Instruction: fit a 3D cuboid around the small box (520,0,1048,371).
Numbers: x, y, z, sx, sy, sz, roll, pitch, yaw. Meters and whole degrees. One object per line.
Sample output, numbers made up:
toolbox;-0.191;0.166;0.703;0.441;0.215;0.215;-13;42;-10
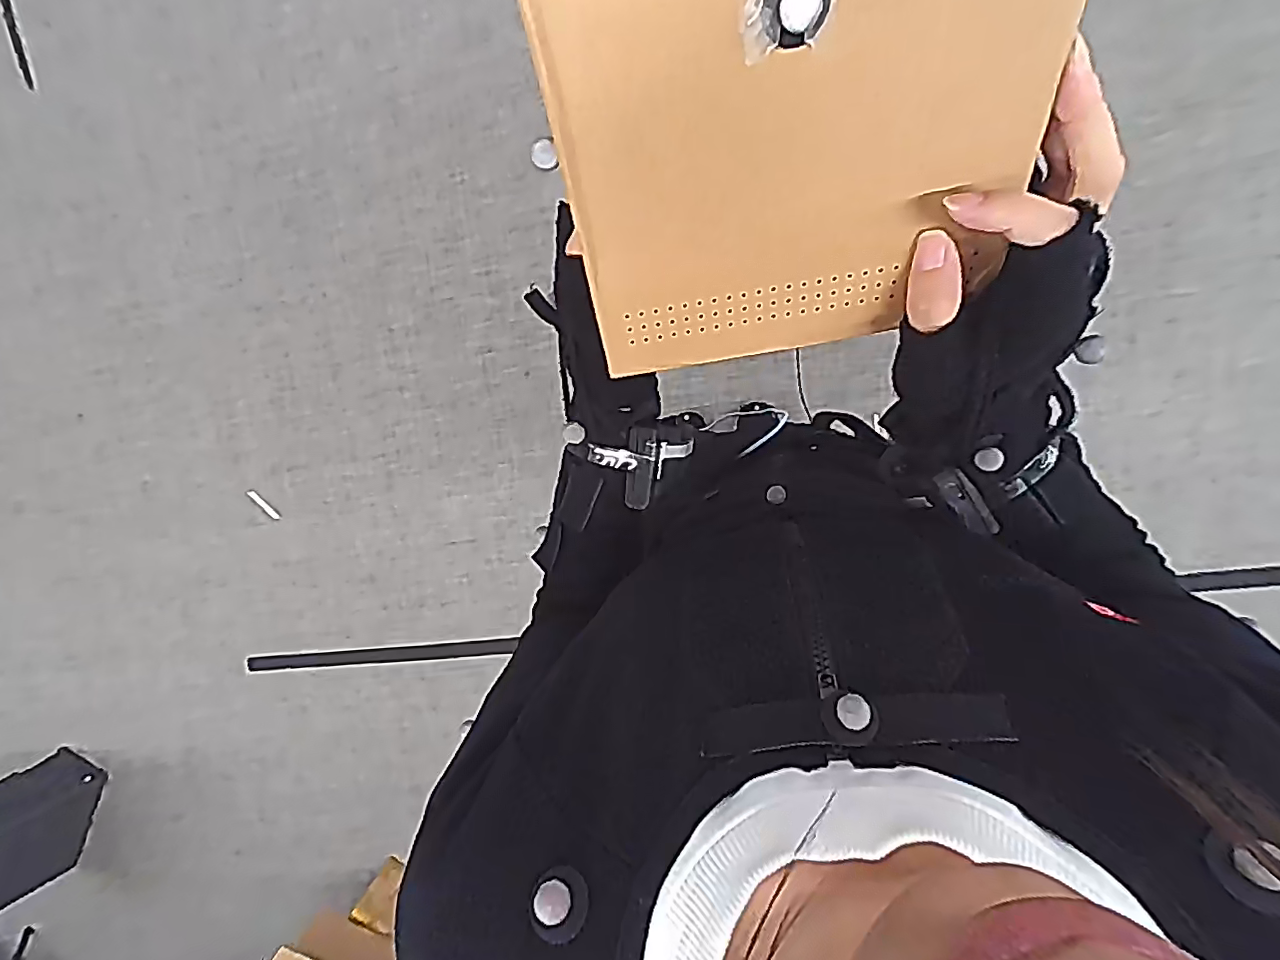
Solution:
small box;0.056;-0.170;0.257;0.179;0.168;0.176;-8;136;5
